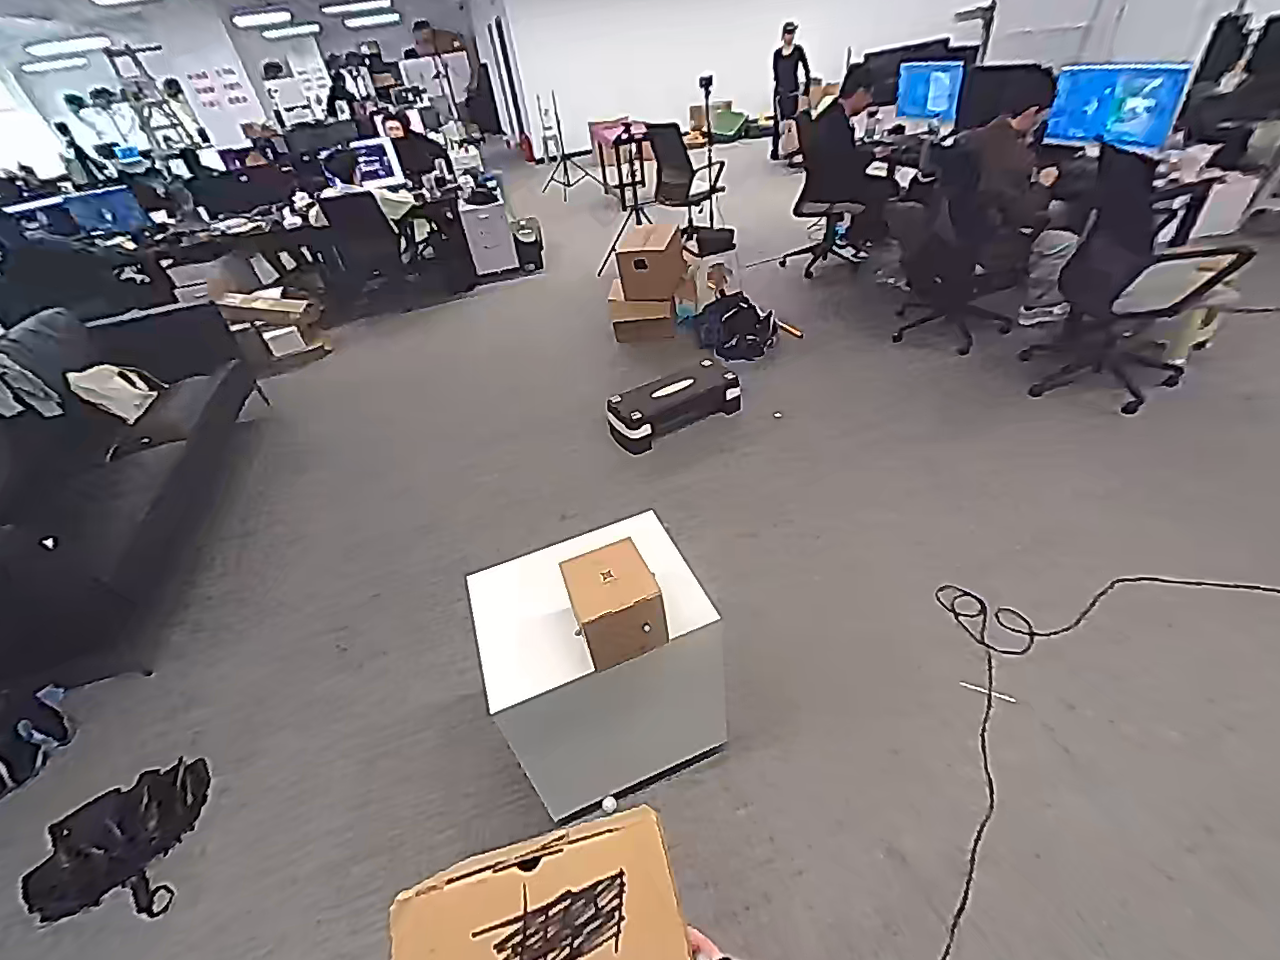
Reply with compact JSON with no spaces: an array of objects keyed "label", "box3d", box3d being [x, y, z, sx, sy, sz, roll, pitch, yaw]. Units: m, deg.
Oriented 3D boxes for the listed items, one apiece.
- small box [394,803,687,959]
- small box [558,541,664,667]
[{"label":"small box","box3d":[-0.054,0.340,0.369,0.168,0.176,0.179,-12,62,-9]},{"label":"small box","box3d":[-0.058,0.264,1.130,0.168,0.176,0.179,-18,37,-14]}]
